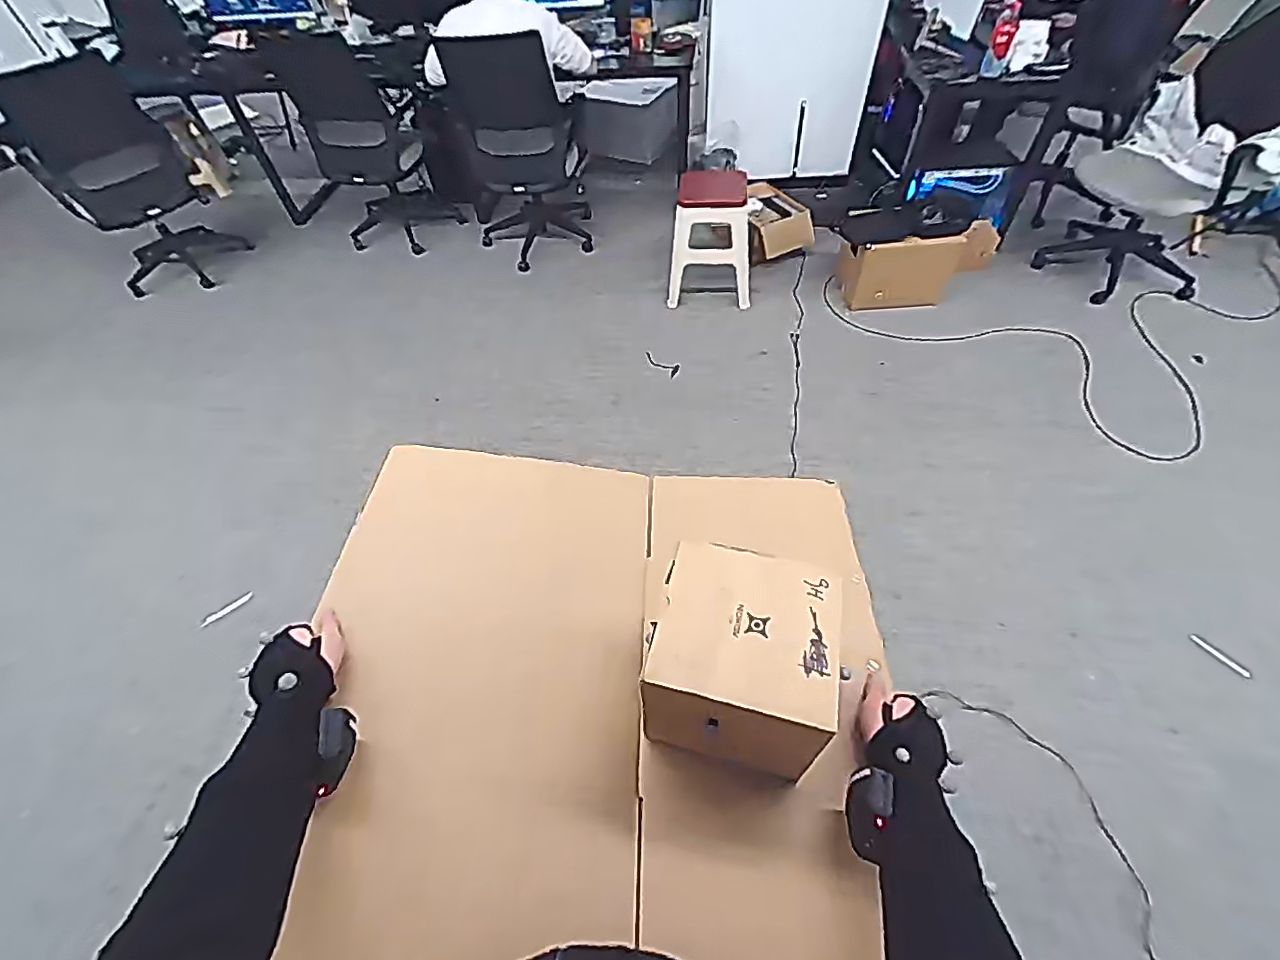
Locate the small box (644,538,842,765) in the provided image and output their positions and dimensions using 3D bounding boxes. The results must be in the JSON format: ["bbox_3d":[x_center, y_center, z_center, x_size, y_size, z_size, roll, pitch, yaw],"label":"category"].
[{"bbox_3d":[0.112,0.190,0.594,0.179,0.176,0.168,10,51,12],"label":"small box"}]
